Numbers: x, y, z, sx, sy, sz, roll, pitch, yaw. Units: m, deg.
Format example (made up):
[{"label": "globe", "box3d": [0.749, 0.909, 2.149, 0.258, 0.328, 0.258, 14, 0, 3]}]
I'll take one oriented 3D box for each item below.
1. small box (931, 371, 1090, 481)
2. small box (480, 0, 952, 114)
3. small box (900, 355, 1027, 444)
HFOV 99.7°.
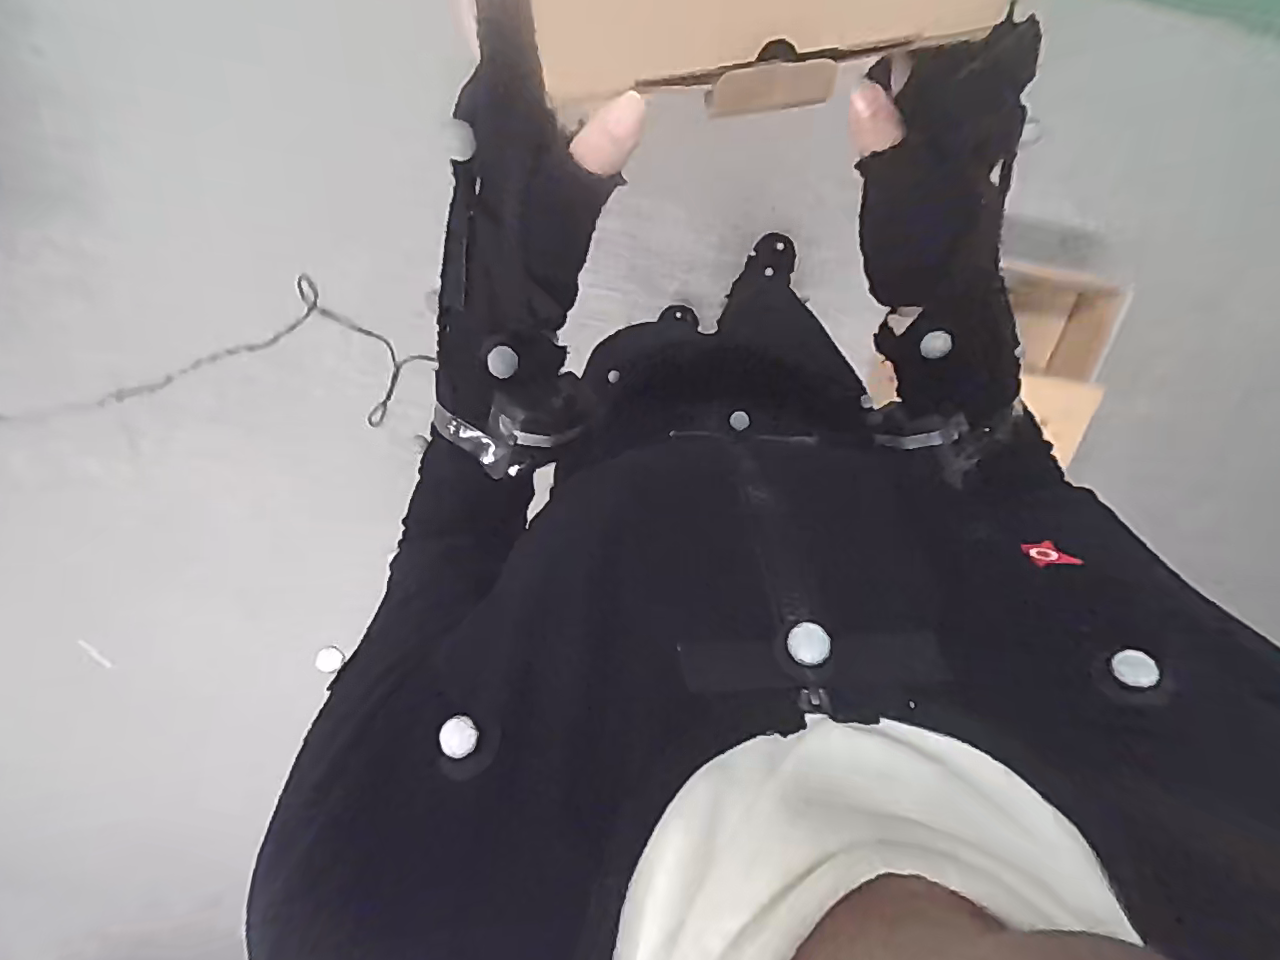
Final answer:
[{"label": "small box", "box3d": [0.729, -0.116, 1.090, 0.179, 0.176, 0.168, 9, 113, -4]}, {"label": "small box", "box3d": [0.014, -0.263, 0.210, 0.168, 0.176, 0.179, -10, 127, 0]}, {"label": "small box", "box3d": [0.724, -0.179, 1.238, 0.168, 0.176, 0.179, 8, 110, -2]}]
